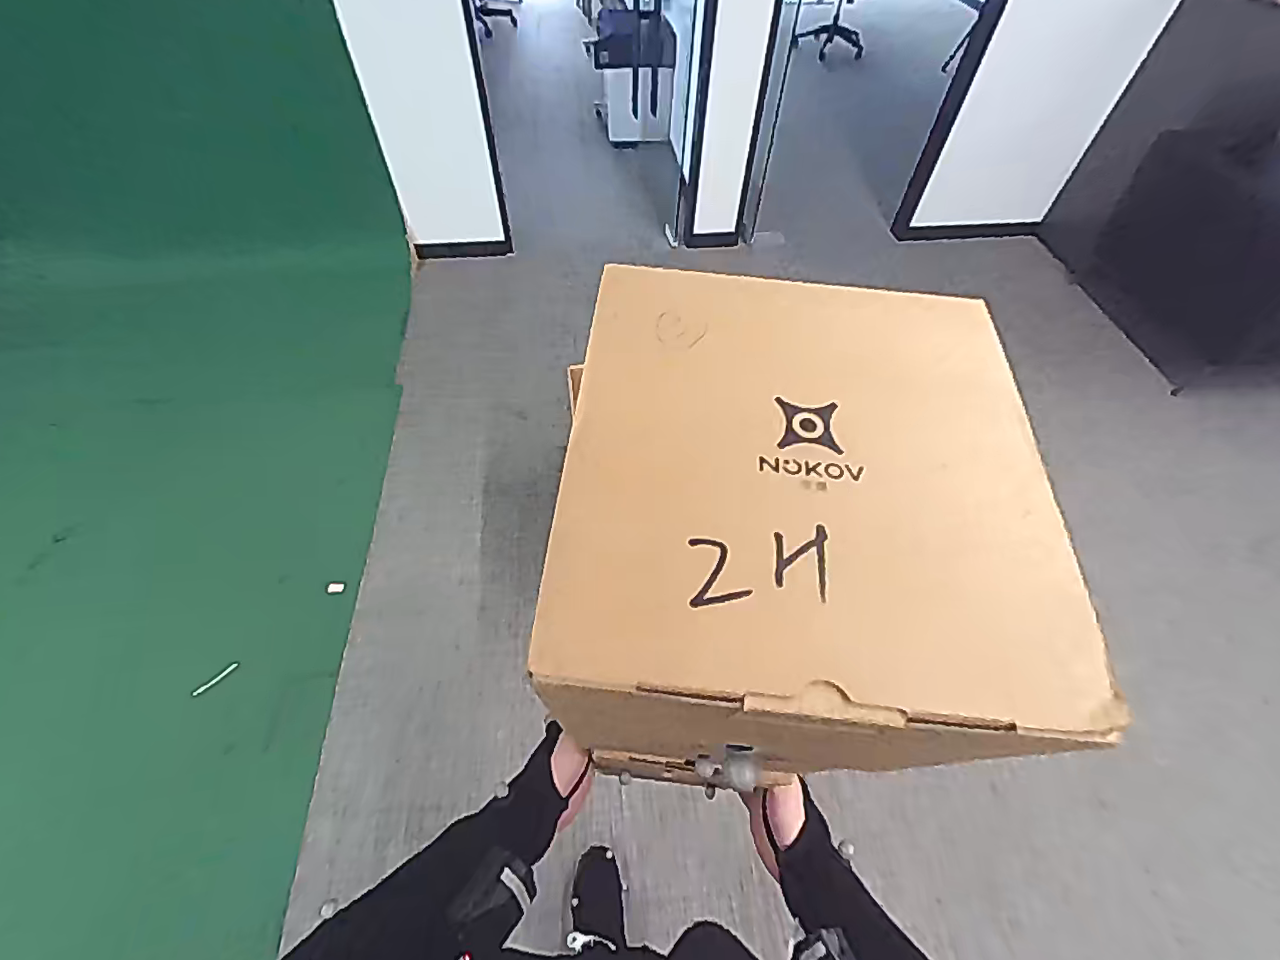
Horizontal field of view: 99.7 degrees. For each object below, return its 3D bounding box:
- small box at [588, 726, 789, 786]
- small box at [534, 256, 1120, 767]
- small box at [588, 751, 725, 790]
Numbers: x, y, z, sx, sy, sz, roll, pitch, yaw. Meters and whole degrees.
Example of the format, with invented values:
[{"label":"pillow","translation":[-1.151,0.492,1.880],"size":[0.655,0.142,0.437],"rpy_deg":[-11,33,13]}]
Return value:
[{"label":"small box","translation":[0.047,0.197,0.542],"size":[0.168,0.176,0.179],"rpy_deg":[8,59,1]},{"label":"small box","translation":[0.055,0.026,0.260],"size":[0.168,0.176,0.179],"rpy_deg":[6,59,1]},{"label":"small box","translation":[0.035,0.285,0.679],"size":[0.179,0.176,0.168],"rpy_deg":[7,58,0]}]
